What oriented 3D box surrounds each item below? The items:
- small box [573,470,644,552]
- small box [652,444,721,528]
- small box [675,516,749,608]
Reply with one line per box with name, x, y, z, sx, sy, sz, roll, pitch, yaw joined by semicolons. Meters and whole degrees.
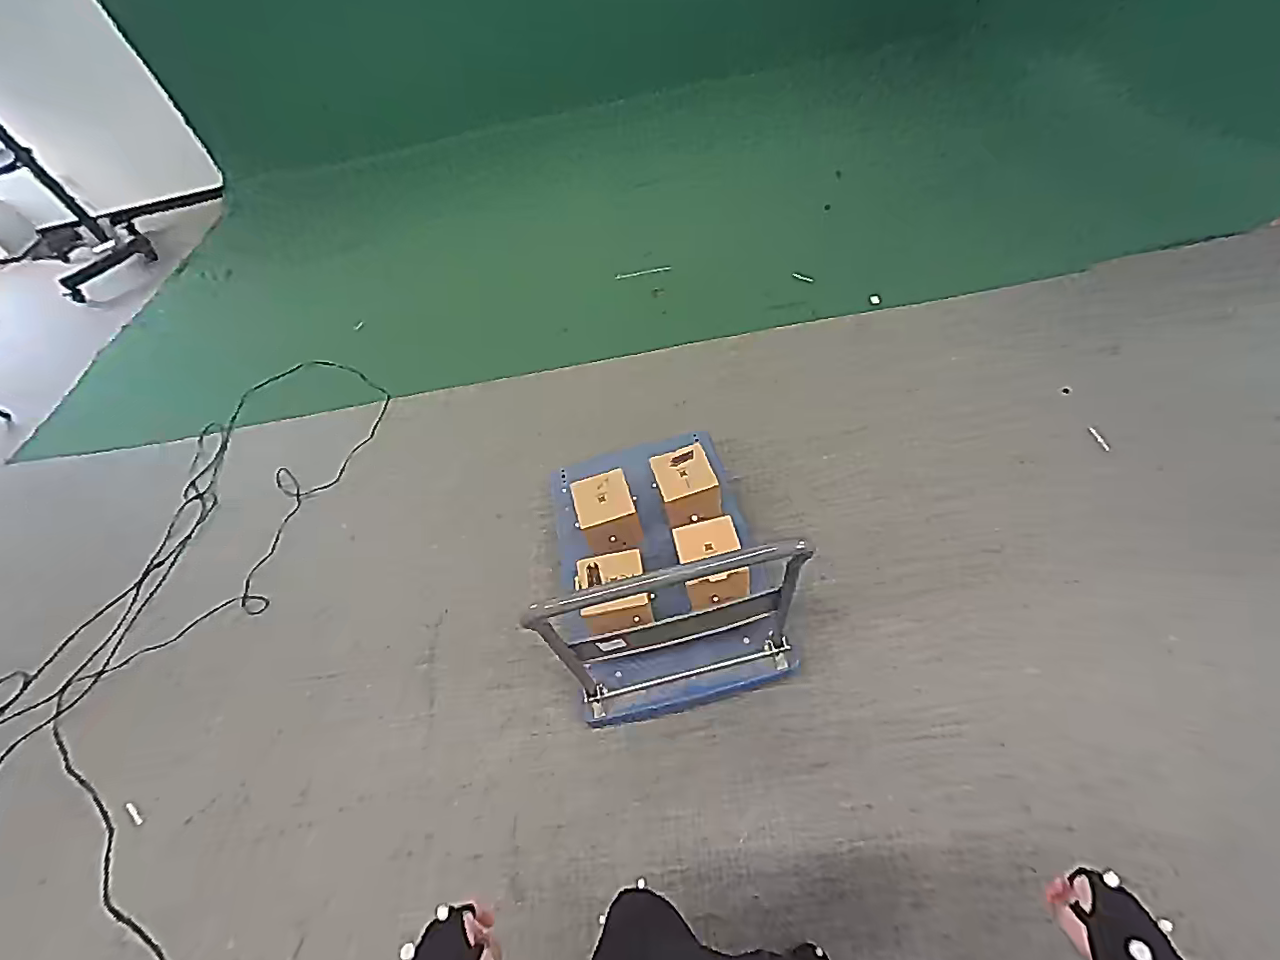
small box;-0.094;0.102;1.668;0.168;0.176;0.179;-17;52;-3
small box;0.145;0.024;1.677;0.168;0.176;0.179;-18;53;-1
small box;0.200;0.231;1.511;0.168;0.176;0.179;-14;52;1
